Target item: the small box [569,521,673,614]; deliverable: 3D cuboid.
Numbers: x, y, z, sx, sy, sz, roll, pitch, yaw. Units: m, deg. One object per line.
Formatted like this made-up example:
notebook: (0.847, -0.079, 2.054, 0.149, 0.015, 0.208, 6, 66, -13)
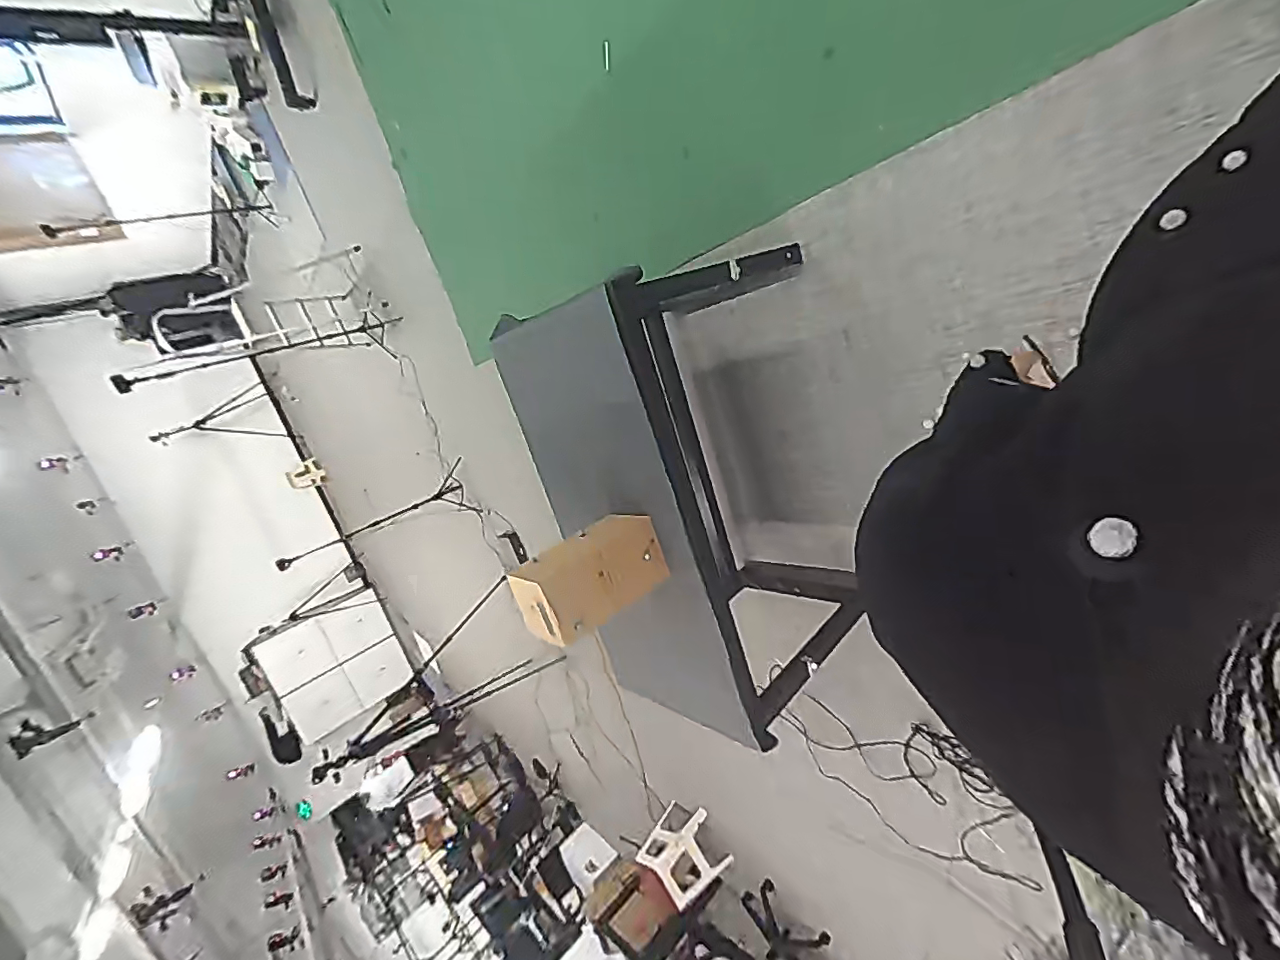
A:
small box: (-0.046, 0.213, 1.368, 0.179, 0.176, 0.168, -3, 111, 52)
